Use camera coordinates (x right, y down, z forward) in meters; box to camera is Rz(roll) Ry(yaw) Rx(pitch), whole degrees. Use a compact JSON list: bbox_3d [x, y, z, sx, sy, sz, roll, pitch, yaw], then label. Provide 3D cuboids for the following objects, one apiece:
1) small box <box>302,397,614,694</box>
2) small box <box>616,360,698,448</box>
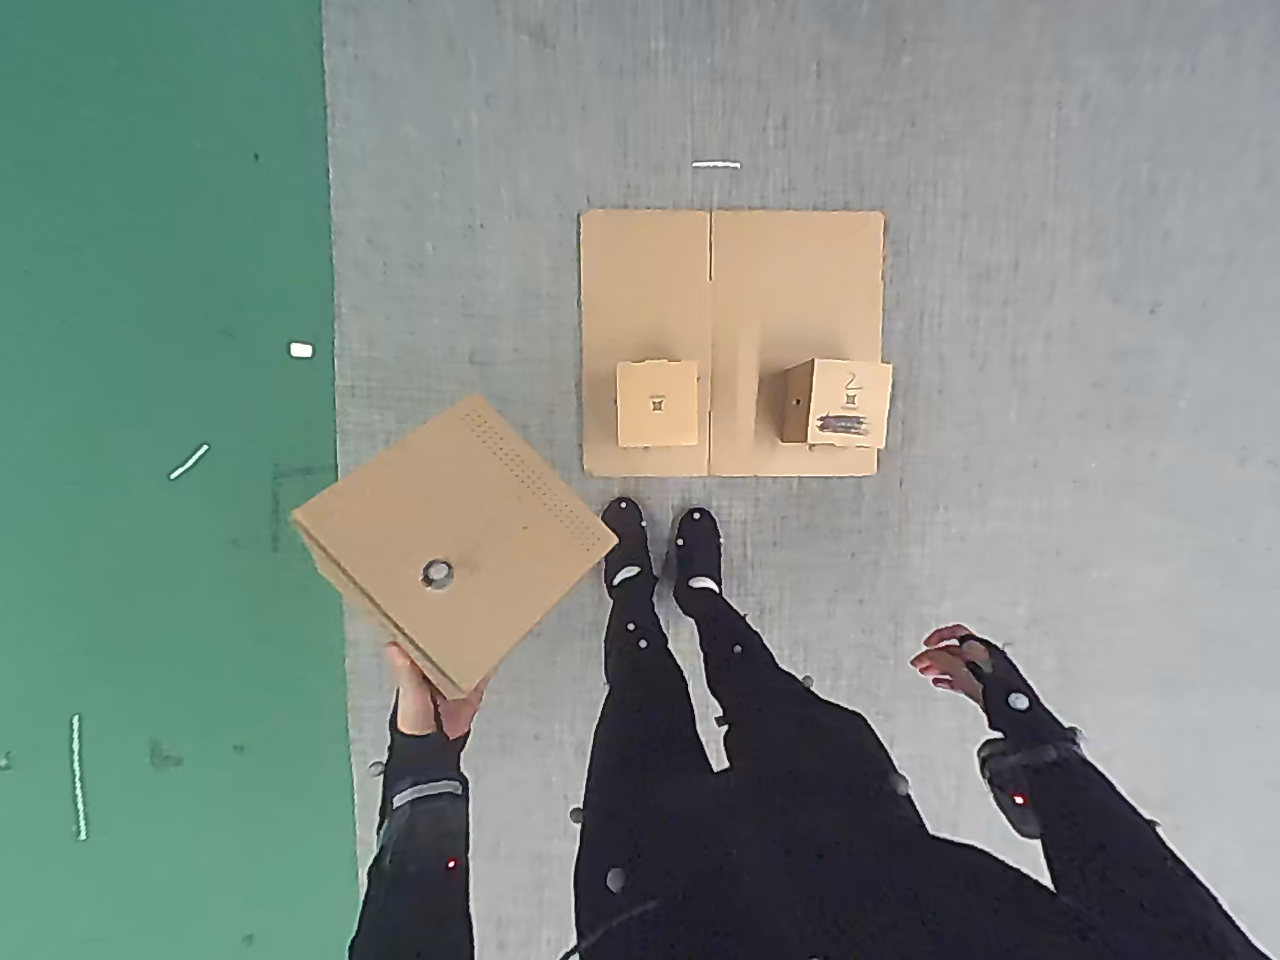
[{"bbox_3d":[-0.152,0.061,0.476,0.179,0.168,0.176,47,57,-1],"label":"small box"},{"bbox_3d":[0.035,-0.160,1.172,0.168,0.176,0.179,-2,93,-1],"label":"small box"}]
